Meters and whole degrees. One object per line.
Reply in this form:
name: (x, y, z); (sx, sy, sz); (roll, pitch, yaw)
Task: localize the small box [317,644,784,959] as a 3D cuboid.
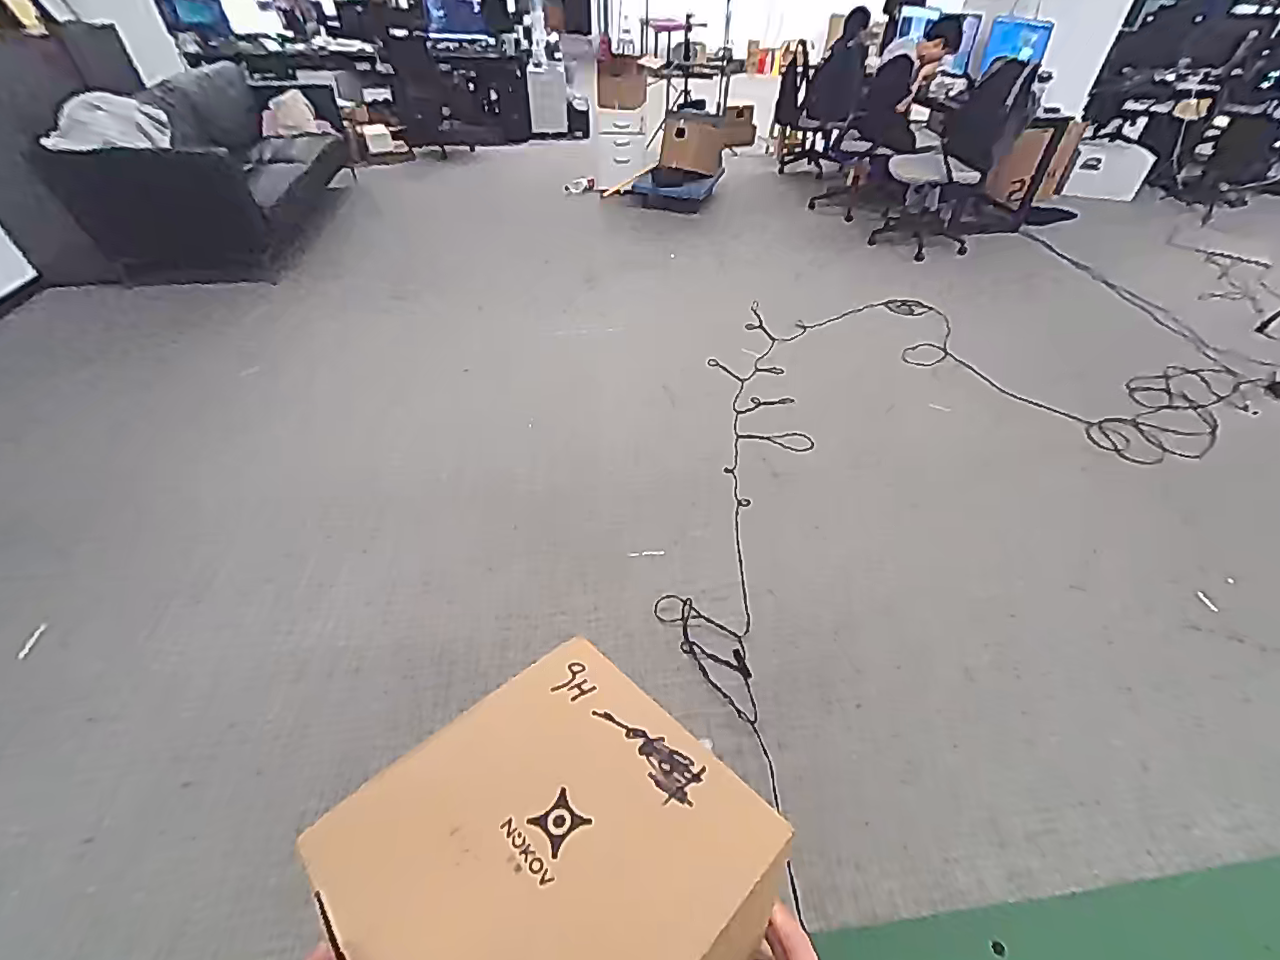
small box: (-0.041, 0.241, 0.310); (0.179, 0.176, 0.168); (-30, 43, -34)
